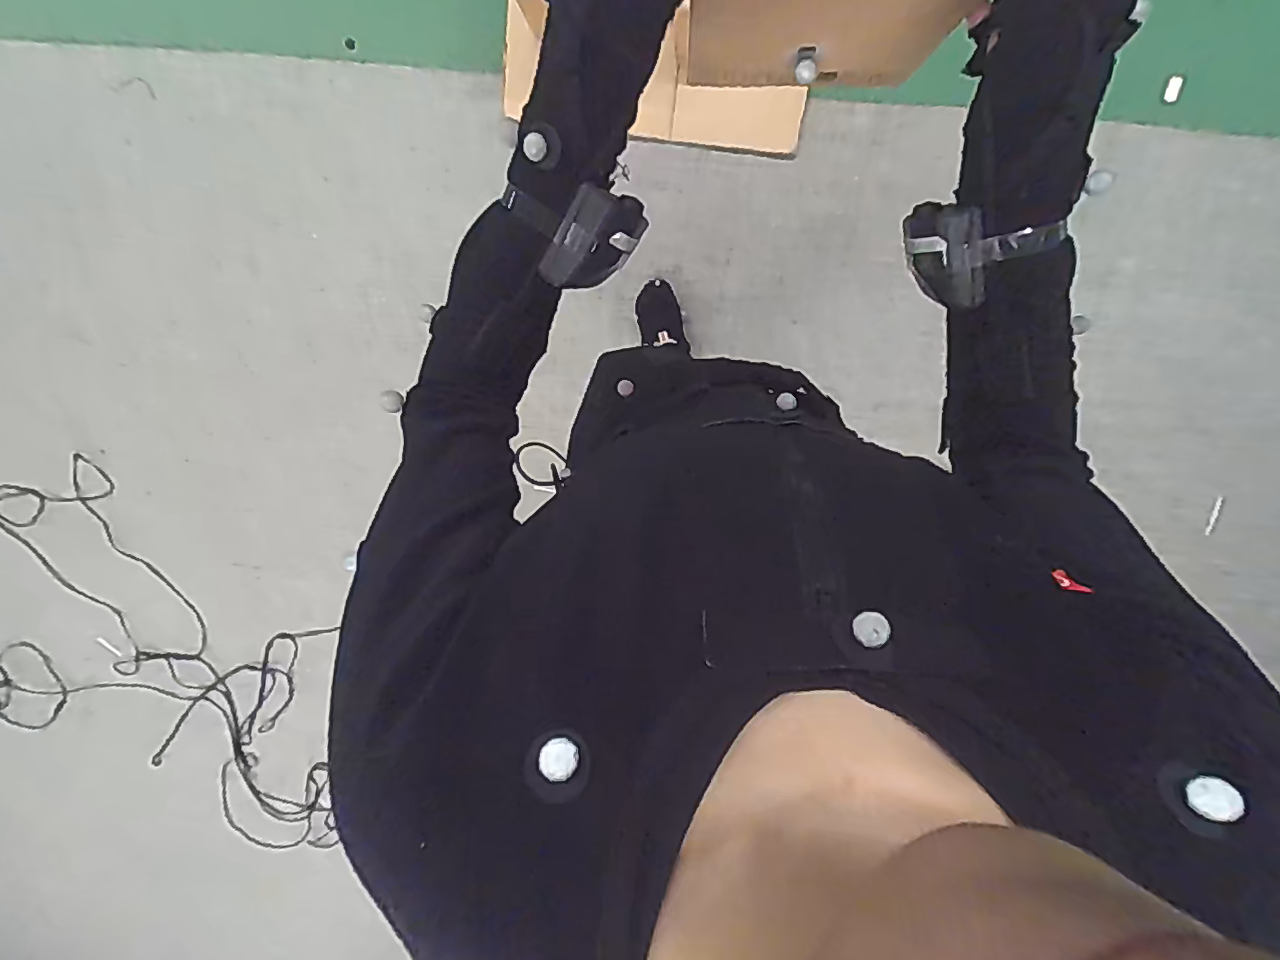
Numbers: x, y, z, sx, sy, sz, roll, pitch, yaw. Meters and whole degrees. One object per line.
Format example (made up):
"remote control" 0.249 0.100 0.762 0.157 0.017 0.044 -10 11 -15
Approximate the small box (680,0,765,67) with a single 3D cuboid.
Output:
"small box" 0.173 -1.007 1.124 0.168 0.176 0.179 6 104 3
